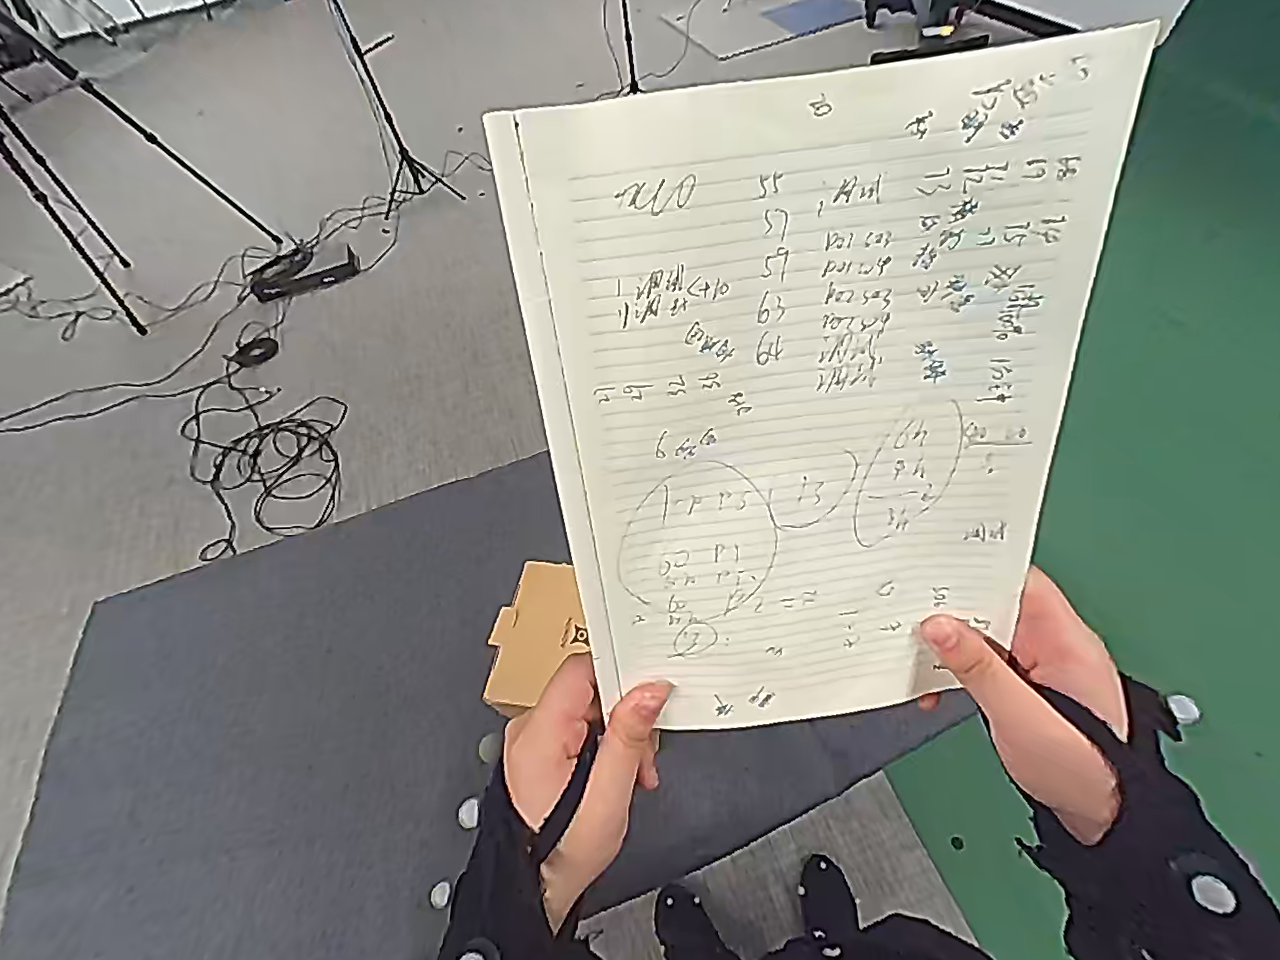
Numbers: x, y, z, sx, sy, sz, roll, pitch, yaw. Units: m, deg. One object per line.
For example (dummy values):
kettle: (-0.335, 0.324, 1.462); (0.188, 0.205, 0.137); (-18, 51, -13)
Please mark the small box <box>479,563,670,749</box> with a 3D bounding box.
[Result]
small box: (-0.062, 0.218, 0.659); (0.179, 0.176, 0.168); (3, 56, 12)
